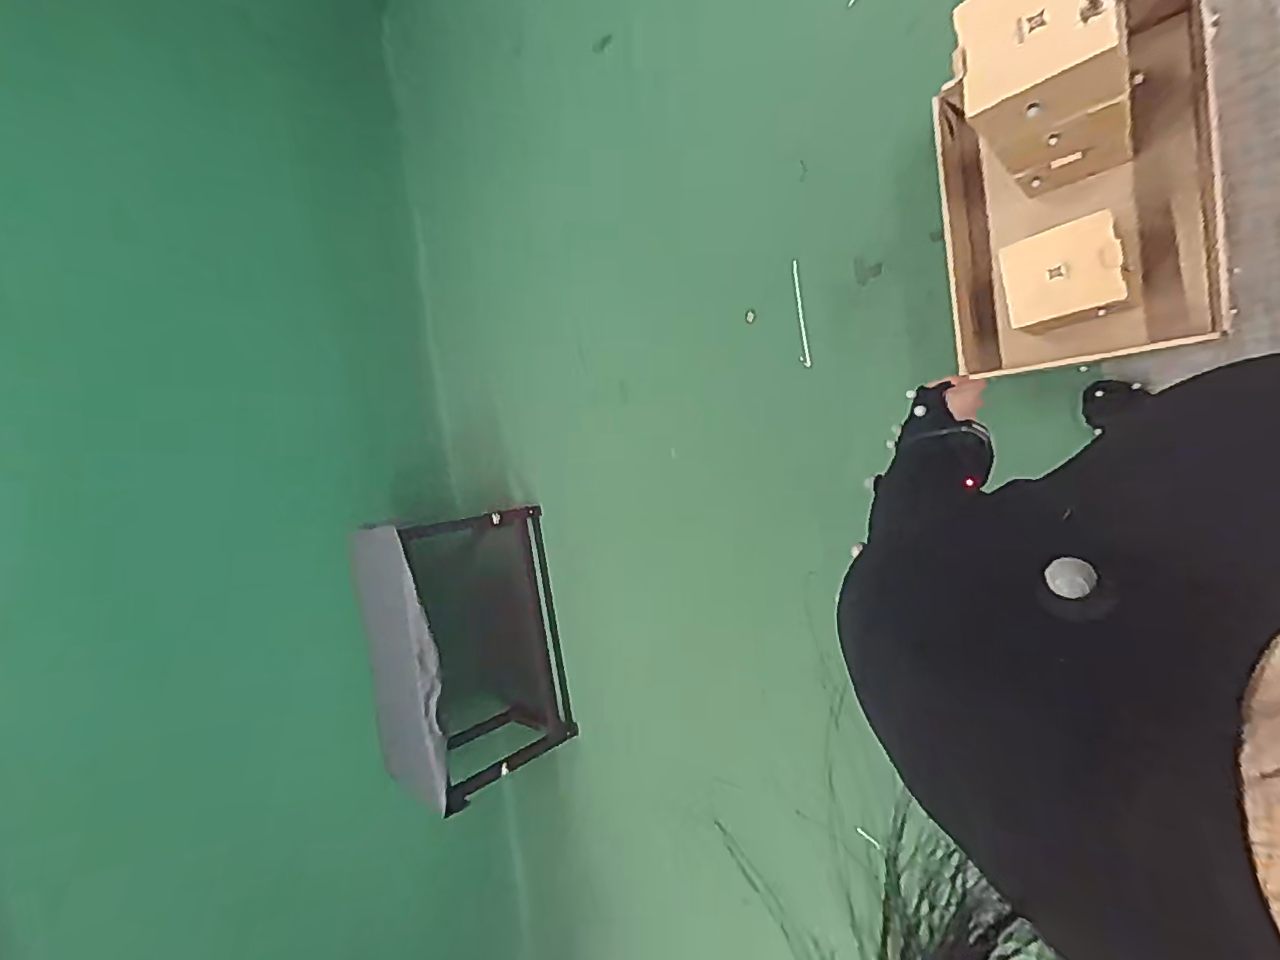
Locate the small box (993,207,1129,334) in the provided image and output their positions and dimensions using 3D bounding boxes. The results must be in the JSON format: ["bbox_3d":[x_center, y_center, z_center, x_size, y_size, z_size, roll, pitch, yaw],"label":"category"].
[{"bbox_3d":[0.827,-0.396,1.061,0.179,0.176,0.168,-11,87,45],"label":"small box"}]

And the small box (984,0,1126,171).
[{"bbox_3d":[0.700,-0.659,0.916,0.179,0.176,0.168,-3,95,44],"label":"small box"}]

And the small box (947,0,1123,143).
[{"bbox_3d":[0.585,-0.640,0.801,0.179,0.176,0.168,-7,92,46],"label":"small box"}]
